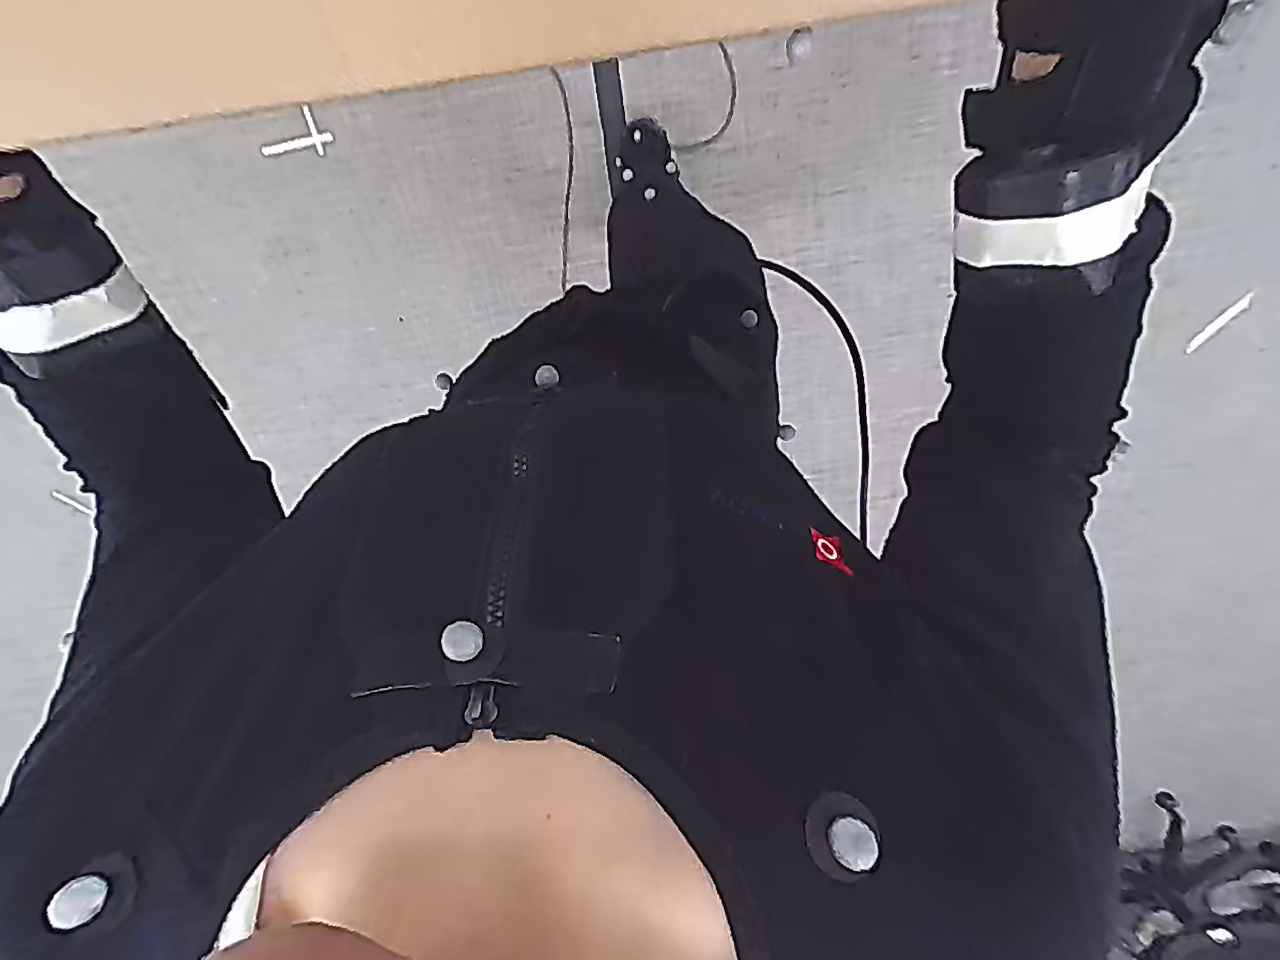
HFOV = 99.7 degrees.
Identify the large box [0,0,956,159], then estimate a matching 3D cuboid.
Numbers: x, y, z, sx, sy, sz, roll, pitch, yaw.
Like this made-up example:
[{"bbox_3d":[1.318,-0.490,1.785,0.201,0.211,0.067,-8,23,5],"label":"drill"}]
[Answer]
[{"bbox_3d":[-0.081,-0.362,0.207,0.408,0.320,0.320,-5,132,5],"label":"large box"}]
